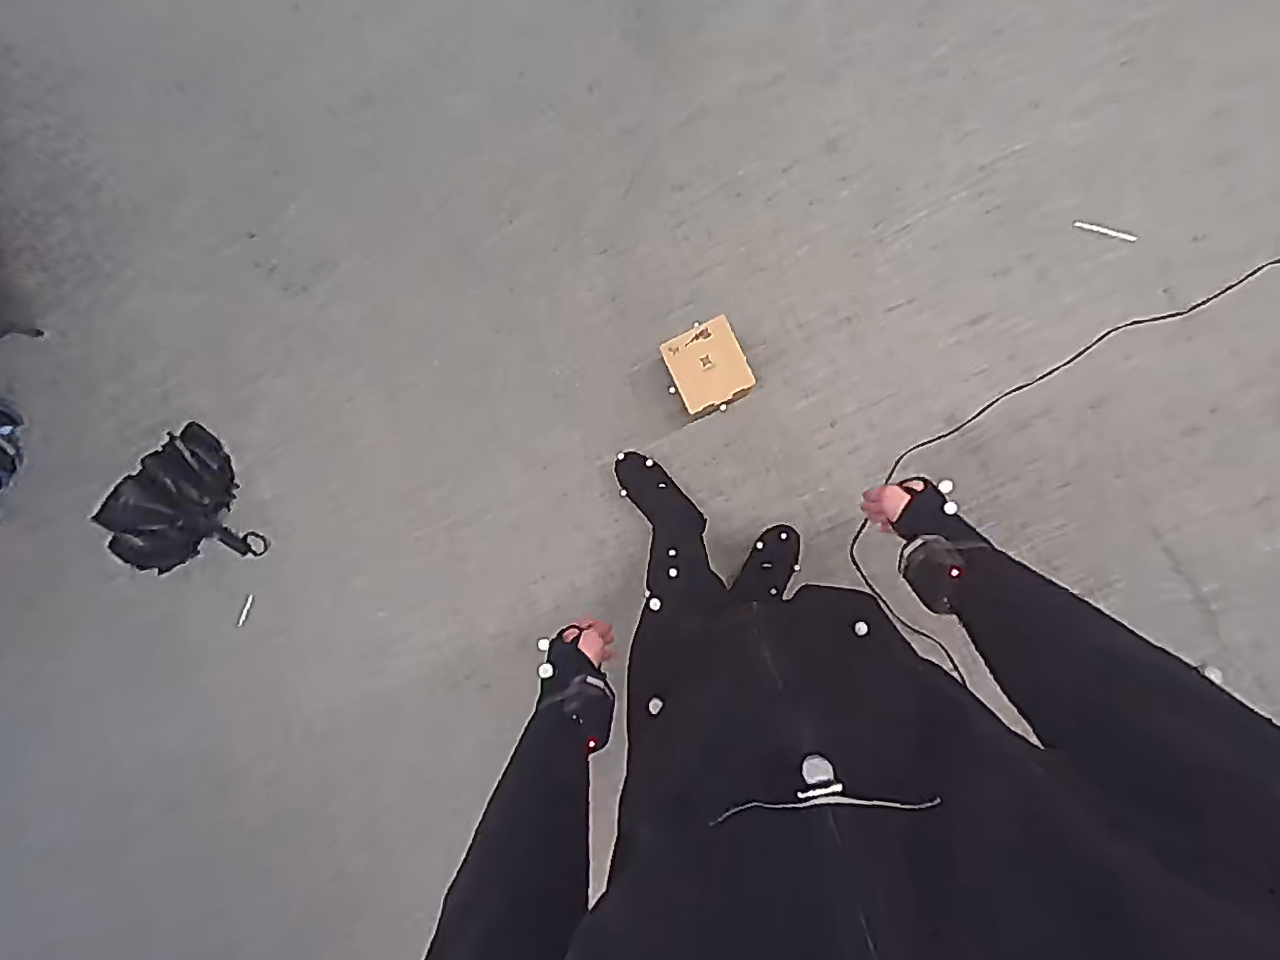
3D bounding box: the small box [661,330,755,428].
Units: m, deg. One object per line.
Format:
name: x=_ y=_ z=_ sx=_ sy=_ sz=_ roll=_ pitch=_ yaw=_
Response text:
small box: x=0.164 y=-0.234 z=1.311 sx=0.168 sy=0.176 sz=0.179 roll=-25 pitch=89 yaw=6
